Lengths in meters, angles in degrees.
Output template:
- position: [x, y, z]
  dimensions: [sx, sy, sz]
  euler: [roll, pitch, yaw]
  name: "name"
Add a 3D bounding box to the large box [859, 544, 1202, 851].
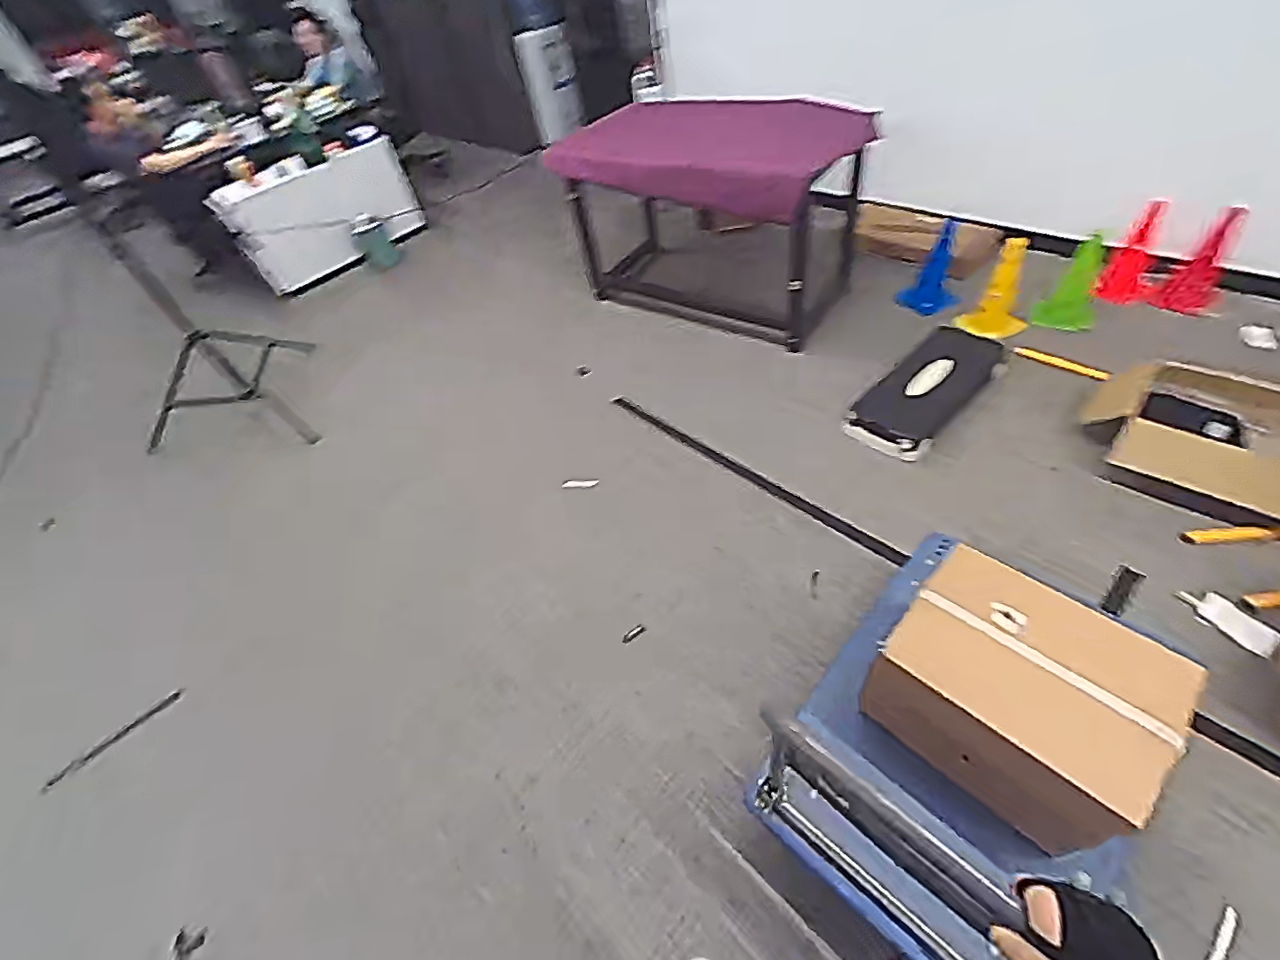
- position: [0.700, 0.405, 1.039]
  dimensions: [0.320, 0.320, 0.408]
  euler: [-40, 52, -23]
  name: "large box"
